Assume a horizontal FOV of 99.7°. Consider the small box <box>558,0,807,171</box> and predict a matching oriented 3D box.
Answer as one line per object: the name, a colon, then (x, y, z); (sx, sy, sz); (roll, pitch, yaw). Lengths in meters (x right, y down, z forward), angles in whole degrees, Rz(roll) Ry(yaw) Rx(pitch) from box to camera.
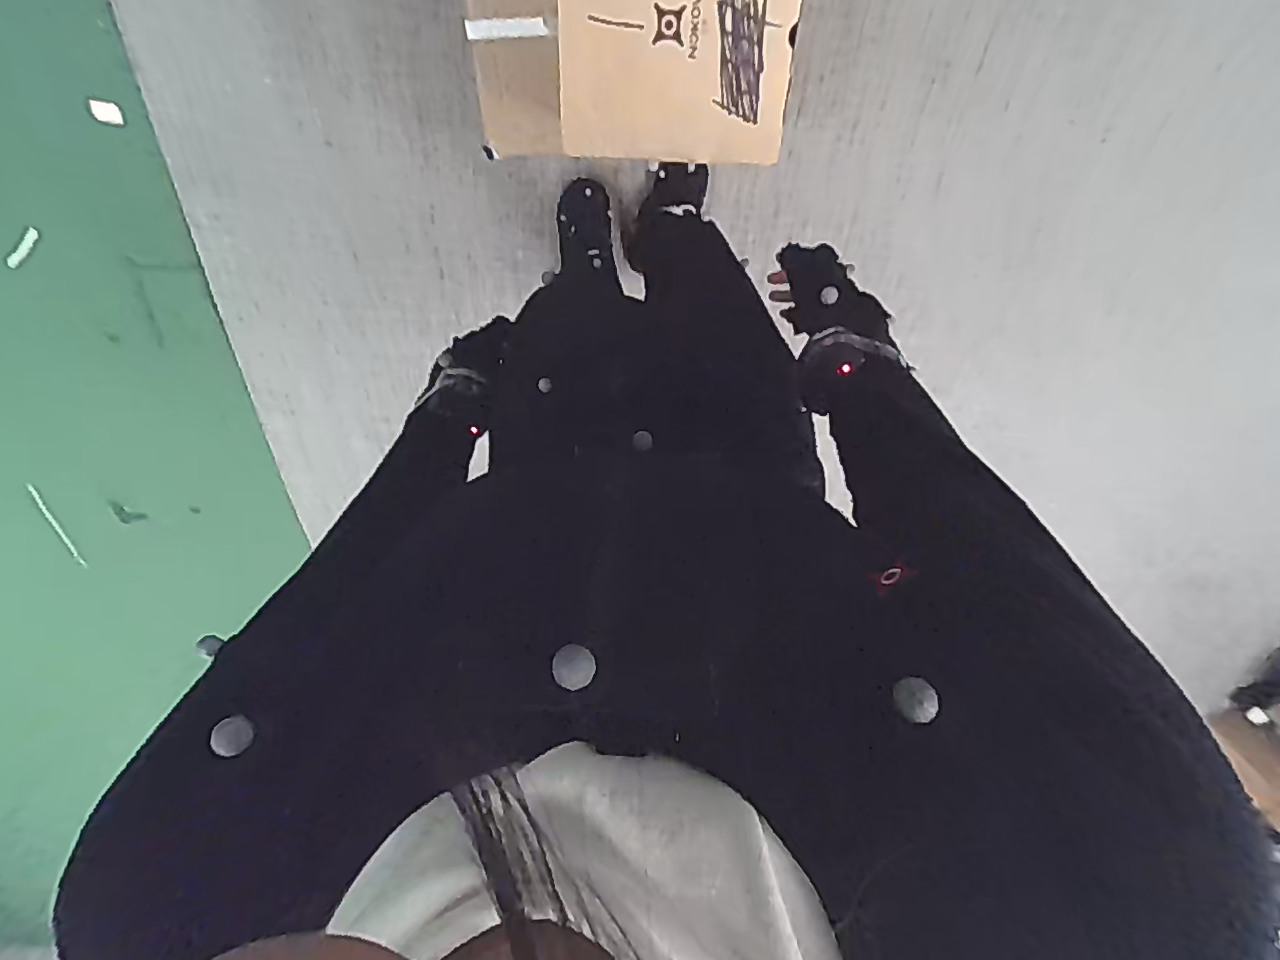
small box: (0.024, -0.366, 0.448); (0.179, 0.176, 0.168); (1, 126, -4)
